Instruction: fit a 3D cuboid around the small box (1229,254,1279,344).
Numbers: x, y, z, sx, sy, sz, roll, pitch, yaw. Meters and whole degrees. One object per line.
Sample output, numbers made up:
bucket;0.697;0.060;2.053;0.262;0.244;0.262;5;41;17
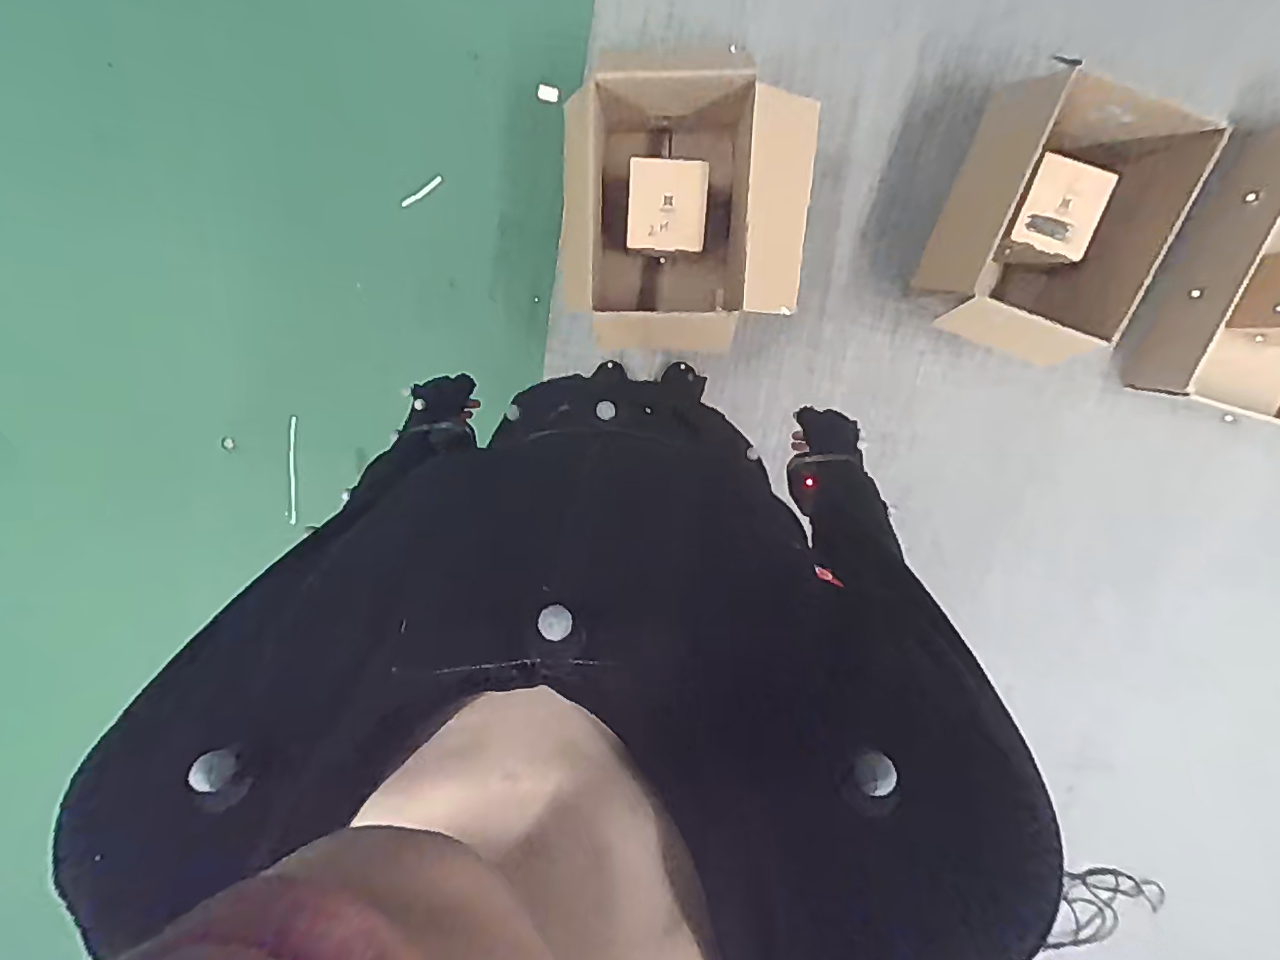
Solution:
small box;1.499;-0.404;1.204;0.168;0.176;0.179;14;106;-3
